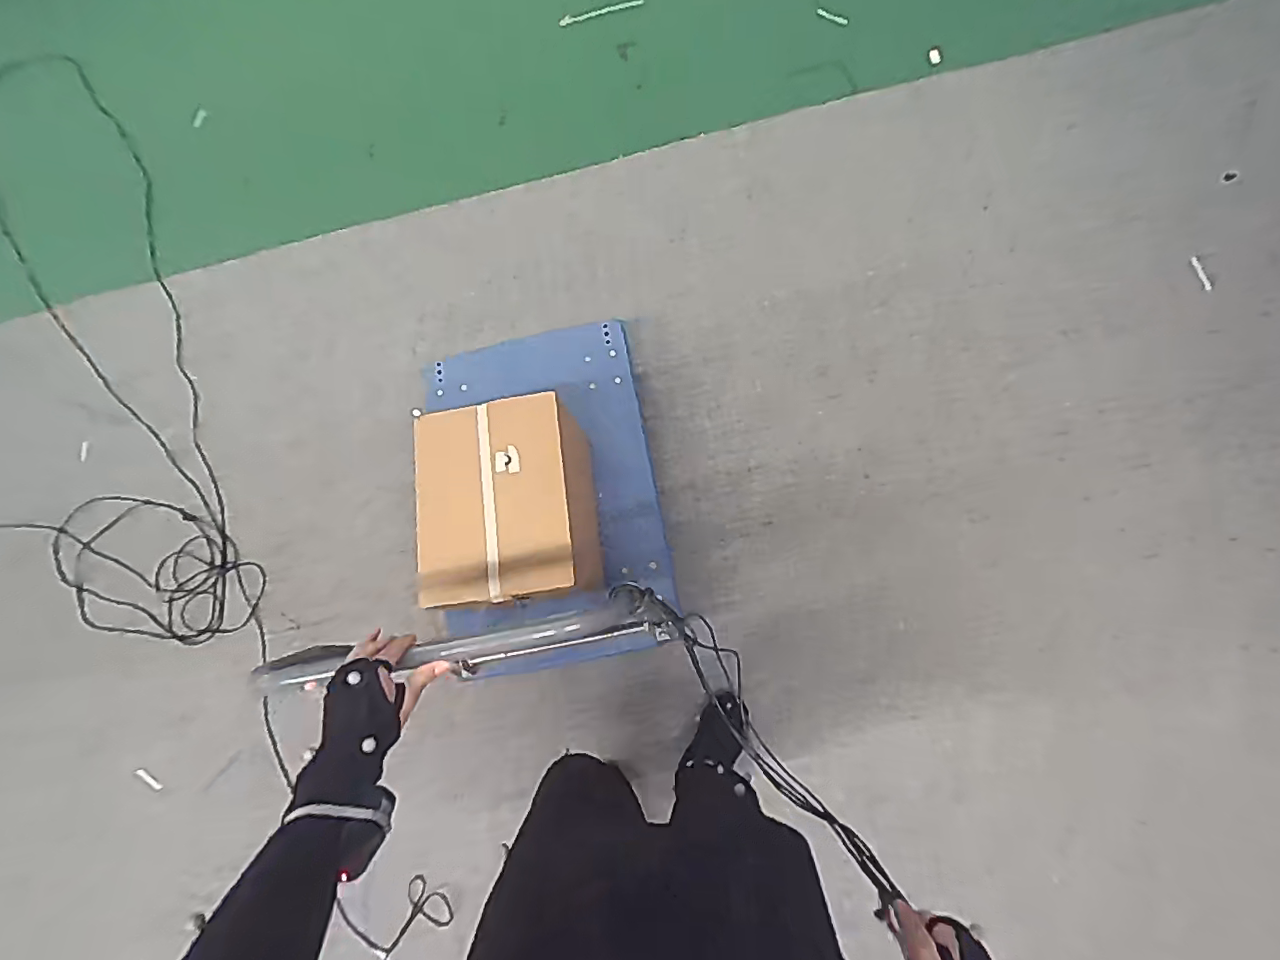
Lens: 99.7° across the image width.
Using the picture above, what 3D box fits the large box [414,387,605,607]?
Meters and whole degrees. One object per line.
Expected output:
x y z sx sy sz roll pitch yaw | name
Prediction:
-0.279 0.059 1.217 0.320 0.320 0.408 -9 74 4 | large box
